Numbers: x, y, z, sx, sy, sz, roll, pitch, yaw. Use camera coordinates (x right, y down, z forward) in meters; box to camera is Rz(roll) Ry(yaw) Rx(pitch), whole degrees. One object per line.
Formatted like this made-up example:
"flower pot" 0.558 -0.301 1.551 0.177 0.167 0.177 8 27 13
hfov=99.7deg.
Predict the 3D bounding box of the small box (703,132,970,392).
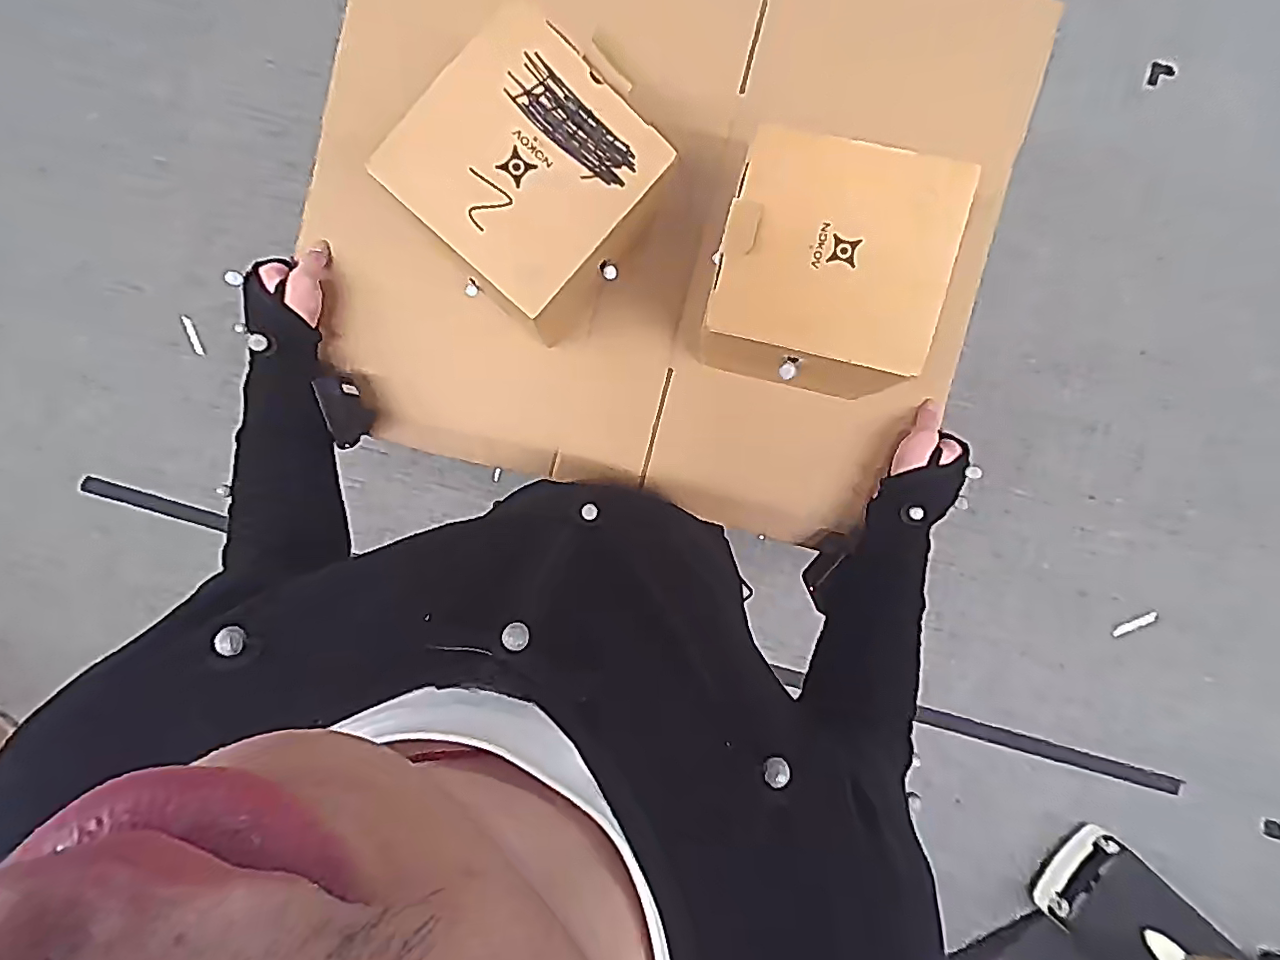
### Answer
"small box" 0.165 -0.186 0.516 0.179 0.176 0.168 15 93 6
